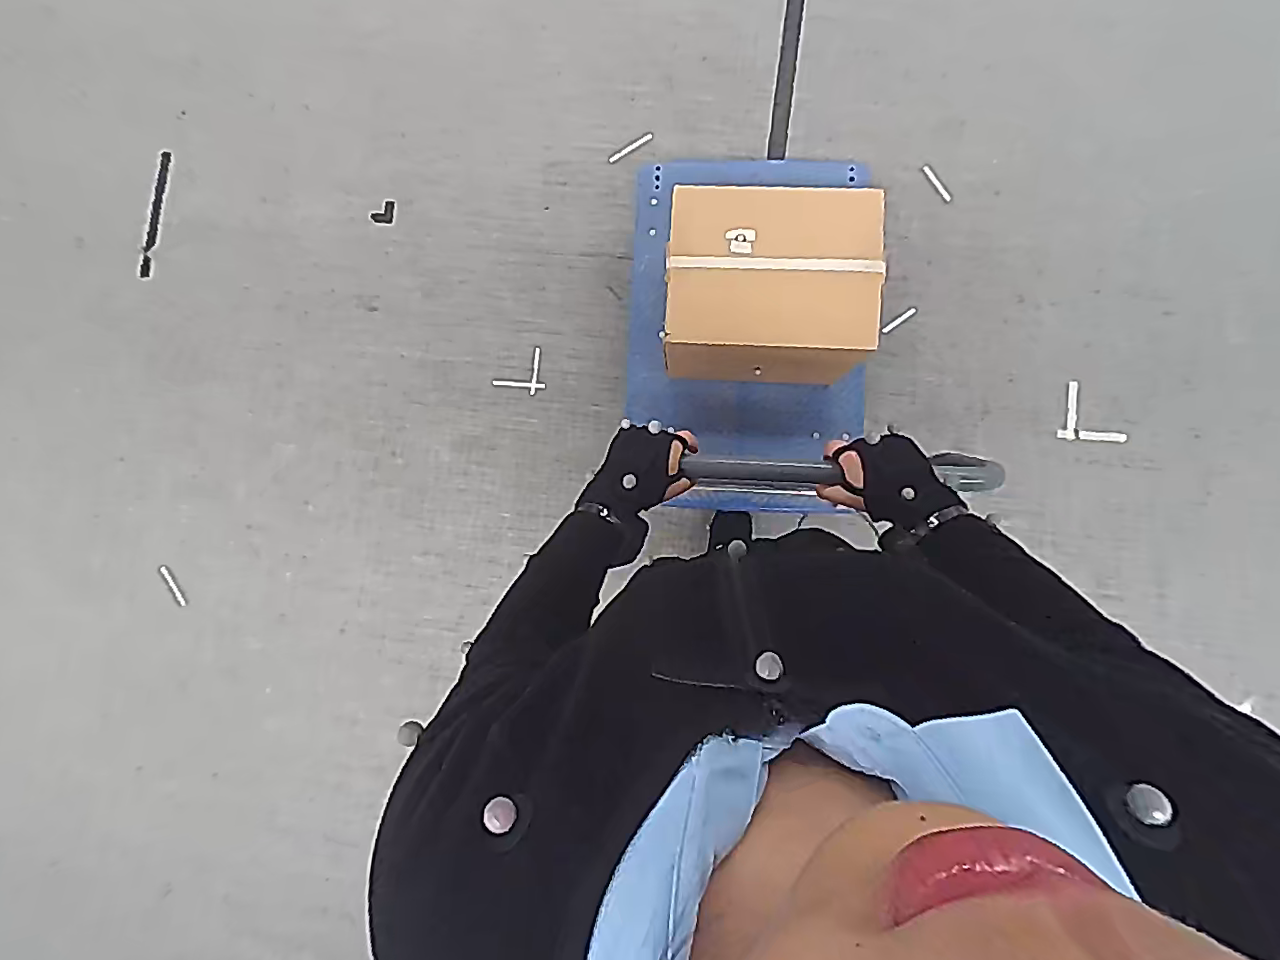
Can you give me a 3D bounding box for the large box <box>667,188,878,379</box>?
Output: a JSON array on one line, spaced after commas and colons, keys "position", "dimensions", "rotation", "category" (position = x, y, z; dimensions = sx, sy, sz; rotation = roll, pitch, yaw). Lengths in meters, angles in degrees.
[{"position": [0.273, -0.410, 1.199], "dimensions": [0.408, 0.320, 0.320], "rotation": [3, 87, 6], "category": "large box"}]
